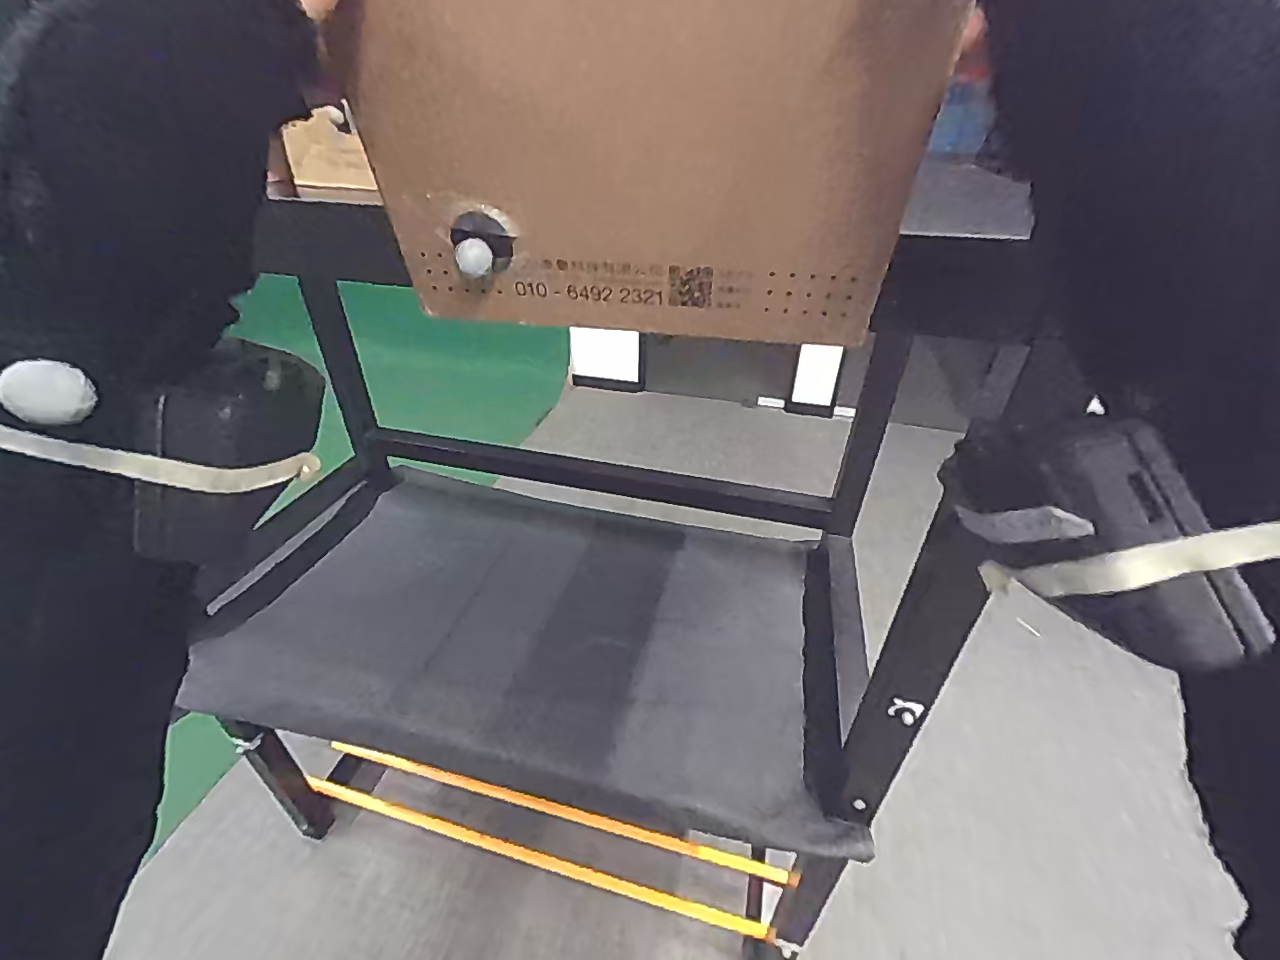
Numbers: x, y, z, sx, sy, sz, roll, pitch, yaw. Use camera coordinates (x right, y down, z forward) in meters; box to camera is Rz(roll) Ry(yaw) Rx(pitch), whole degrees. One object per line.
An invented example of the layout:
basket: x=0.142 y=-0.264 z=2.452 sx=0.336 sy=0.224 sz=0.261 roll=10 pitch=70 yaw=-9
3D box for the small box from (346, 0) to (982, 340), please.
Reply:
small box: x=0.015 y=-0.168 z=0.194 sx=0.168 sy=0.176 sz=0.179 roll=7 pitch=48 yaw=7

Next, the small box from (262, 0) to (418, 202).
small box: x=-0.198 y=-0.356 z=0.488 sx=0.168 sy=0.176 sz=0.179 roll=10 pitch=35 yaw=13
